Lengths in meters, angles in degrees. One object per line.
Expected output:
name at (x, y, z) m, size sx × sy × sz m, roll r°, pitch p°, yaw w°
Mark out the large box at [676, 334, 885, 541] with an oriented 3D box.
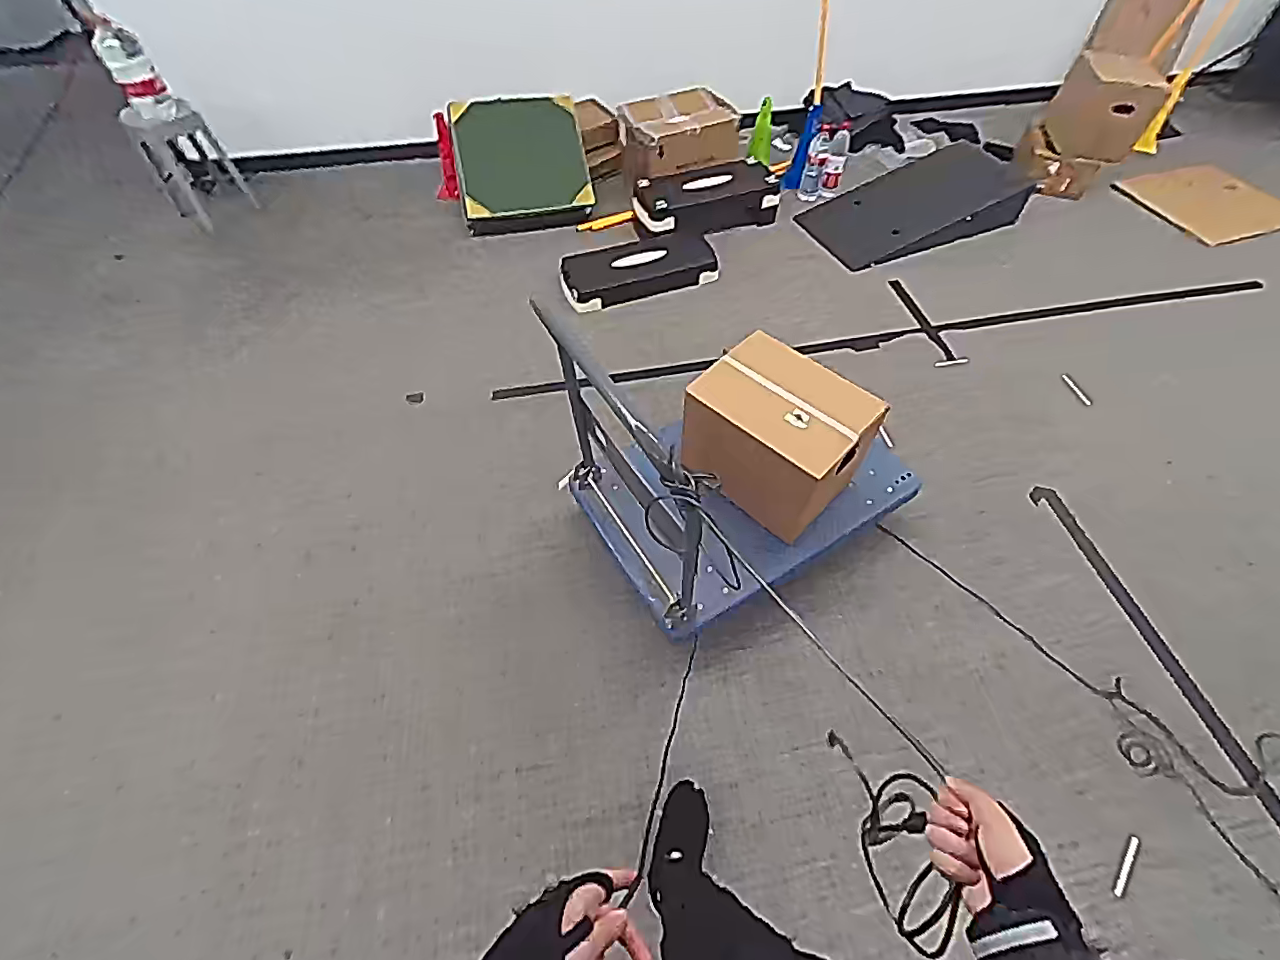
large box at (0.351, -0.116, 1.456) m, size 0.408 × 0.320 × 0.320 m, roll 39°, pitch 64°, yaw 23°
